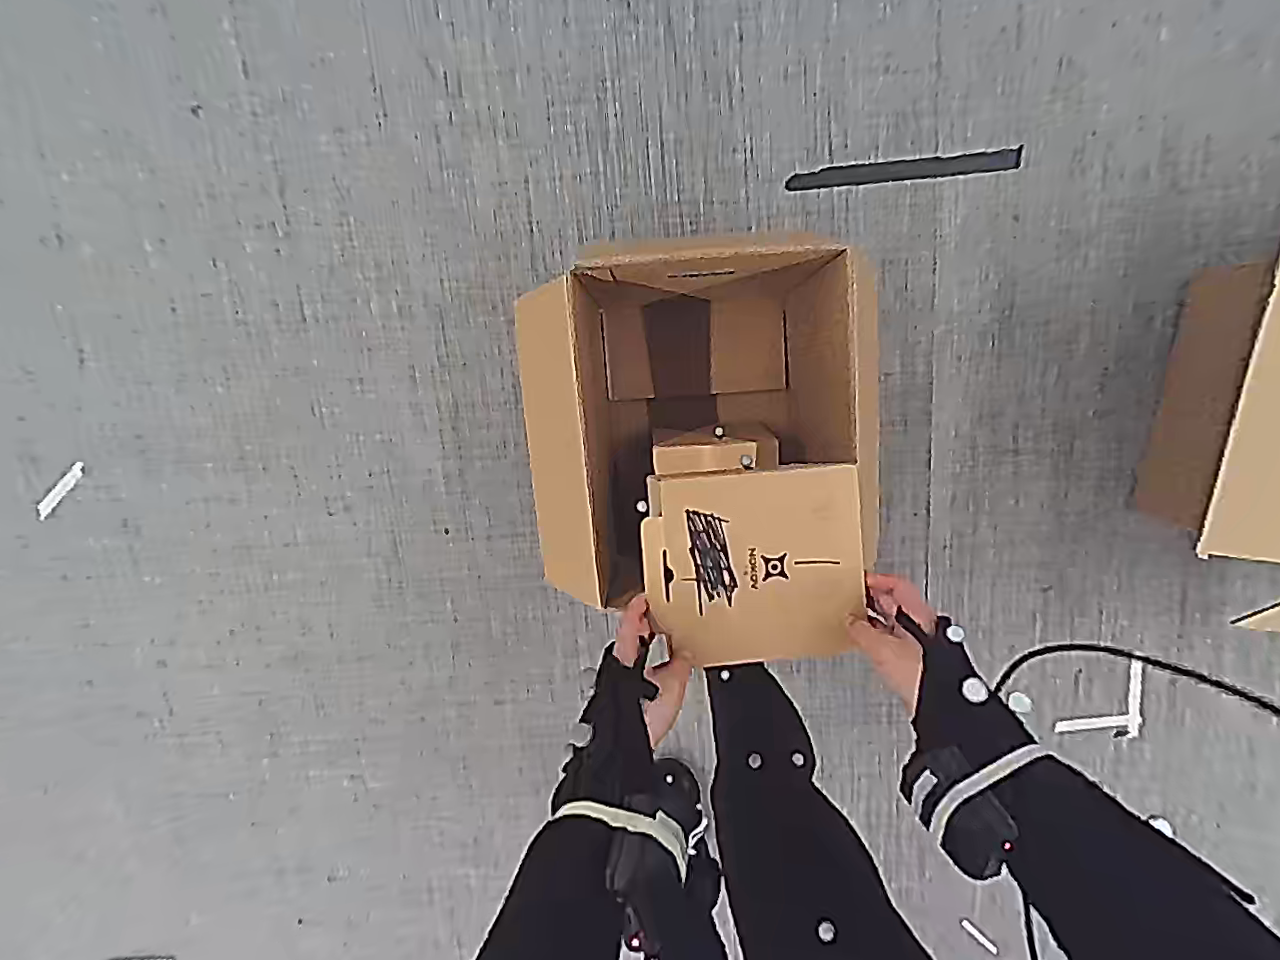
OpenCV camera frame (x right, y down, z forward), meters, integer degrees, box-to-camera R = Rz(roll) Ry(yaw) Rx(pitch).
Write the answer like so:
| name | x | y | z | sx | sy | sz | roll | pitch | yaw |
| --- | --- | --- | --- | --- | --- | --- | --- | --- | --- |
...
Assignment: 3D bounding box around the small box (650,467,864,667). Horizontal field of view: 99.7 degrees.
| name | x | y | z | sx | sy | sz | roll | pitch | yaw |
| --- | --- | --- | --- | --- | --- | --- | --- | --- | --- |
| small box | 0.102 | 0.075 | 0.550 | 0.179 | 0.176 | 0.168 | -5 | 92 | -3 |
